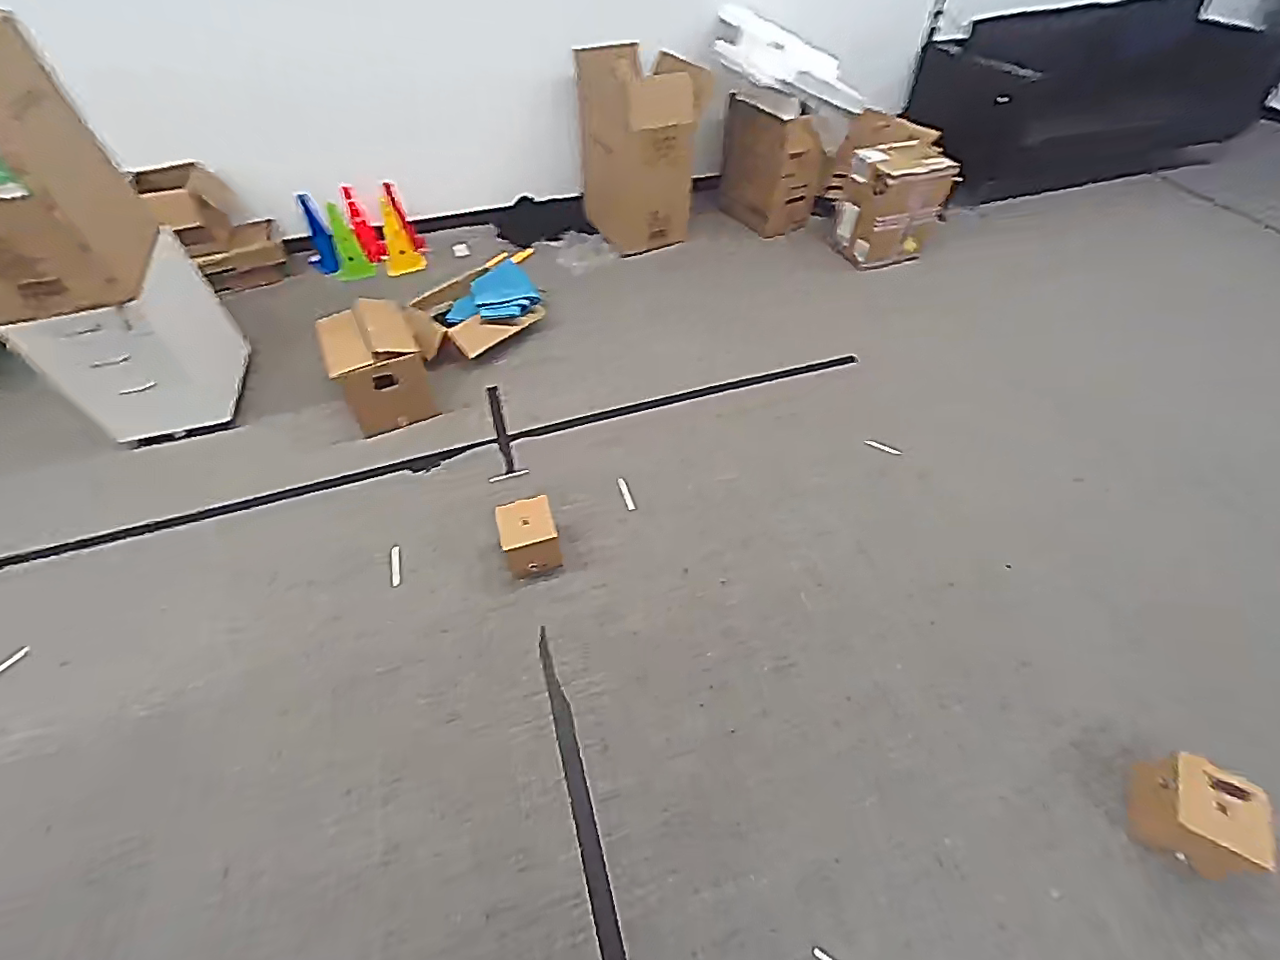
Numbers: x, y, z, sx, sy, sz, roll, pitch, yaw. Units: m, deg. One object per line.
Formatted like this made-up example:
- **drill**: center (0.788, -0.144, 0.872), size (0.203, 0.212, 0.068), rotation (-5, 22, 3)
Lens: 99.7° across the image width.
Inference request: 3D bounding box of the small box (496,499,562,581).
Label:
- **small box**: center (-0.354, 0.192, 1.731), size (0.168, 0.176, 0.179), rotation (-15, 52, -11)

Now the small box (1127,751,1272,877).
- **small box**: center (1.258, 0.761, 1.230), size (0.168, 0.176, 0.179), rotation (25, 55, 21)
